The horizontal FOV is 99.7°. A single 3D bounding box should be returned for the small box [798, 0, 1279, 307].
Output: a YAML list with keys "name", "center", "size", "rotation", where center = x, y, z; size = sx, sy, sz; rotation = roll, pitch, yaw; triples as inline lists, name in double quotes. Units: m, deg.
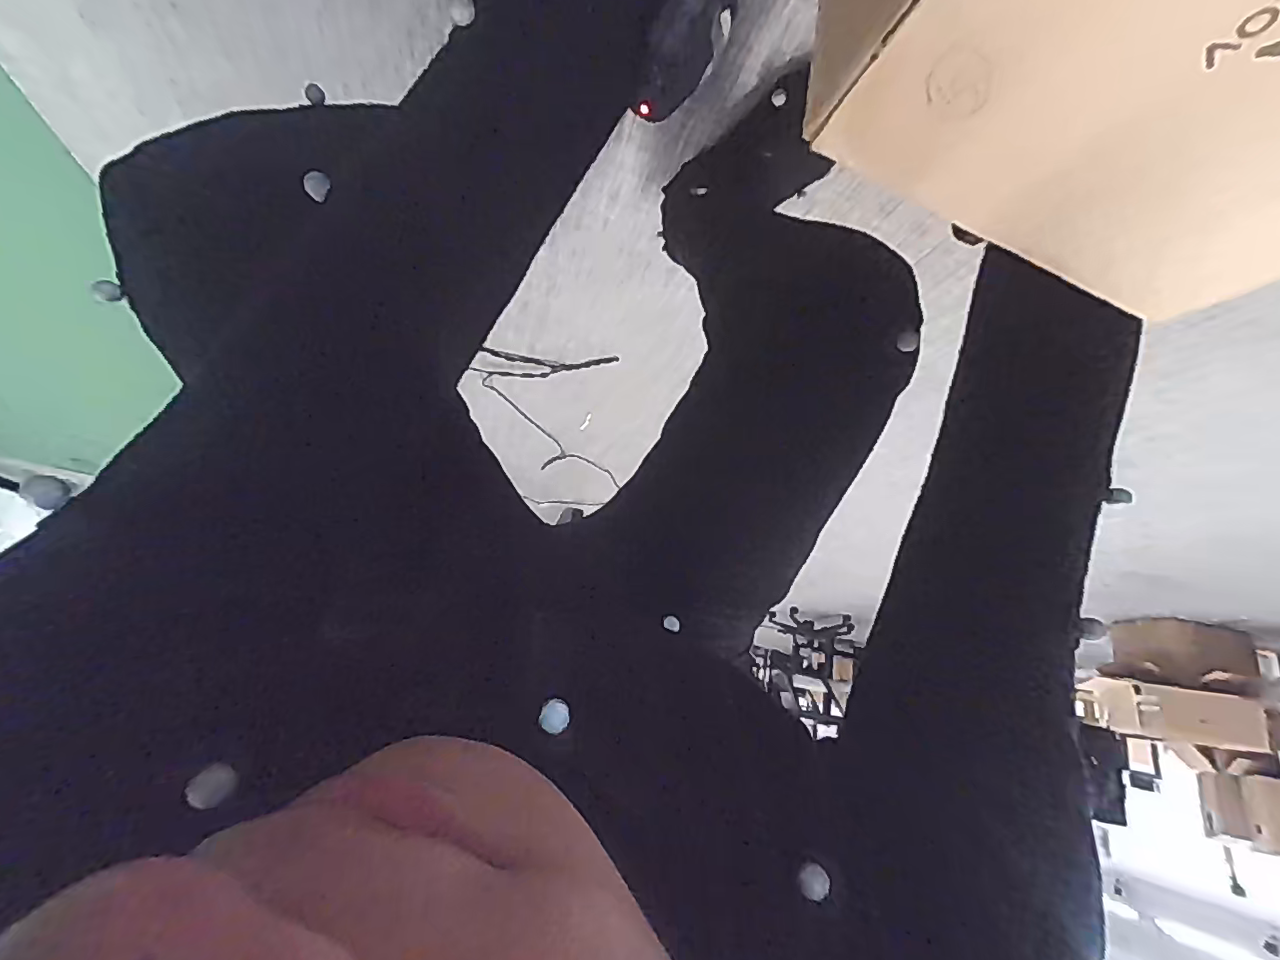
- name: "small box"
  center: [0.170, -0.187, 0.148]
  size: [0.179, 0.176, 0.168]
  rotation: [16, 162, -16]
